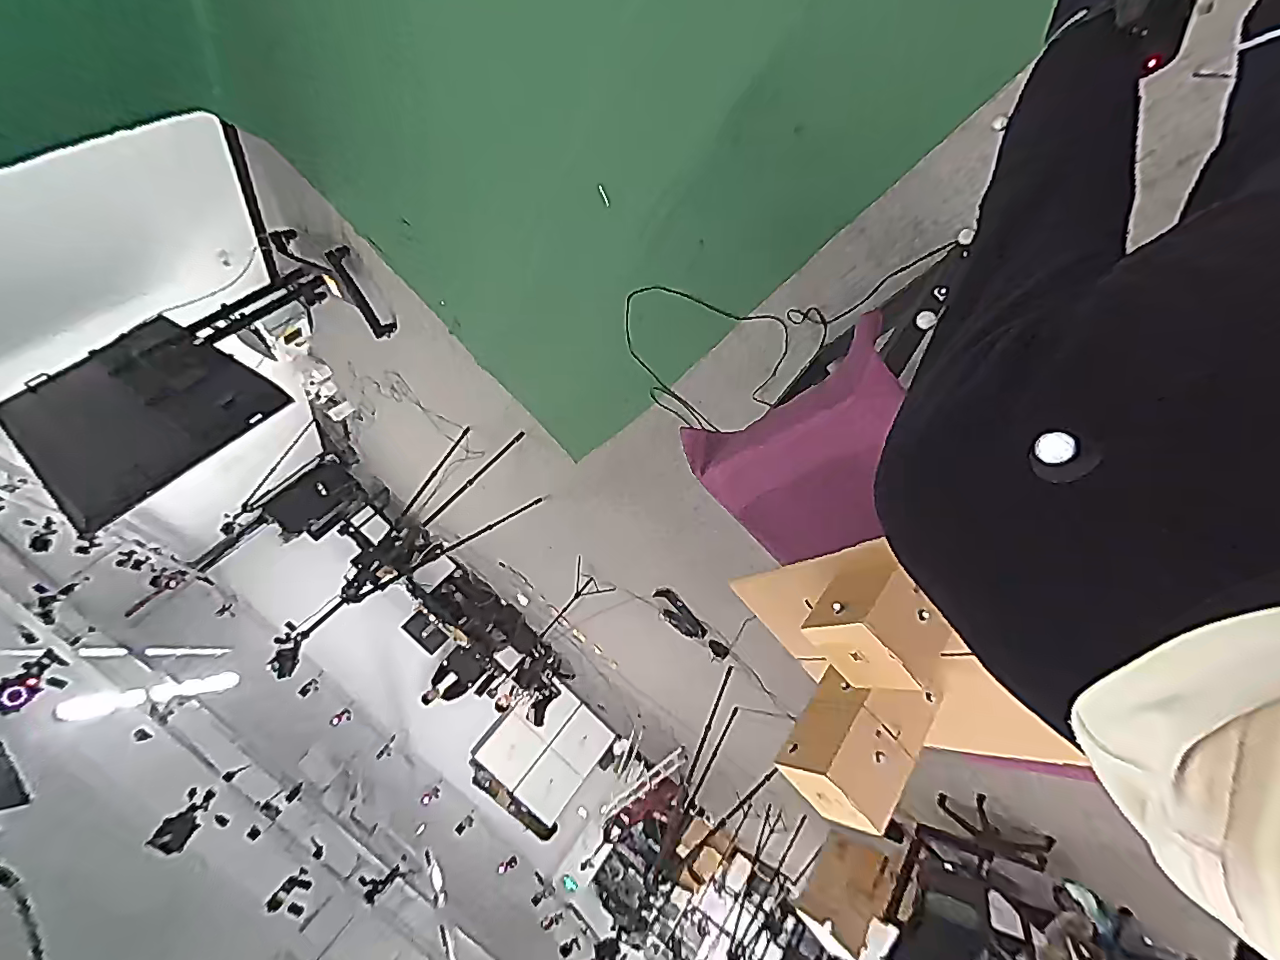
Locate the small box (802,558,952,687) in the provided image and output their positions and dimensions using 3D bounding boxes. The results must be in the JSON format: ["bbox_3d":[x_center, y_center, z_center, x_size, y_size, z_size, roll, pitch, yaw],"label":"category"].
[{"bbox_3d":[0.460,0.275,1.049,0.168,0.176,0.179,47,150,-2],"label":"small box"}]

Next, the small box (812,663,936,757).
[{"bbox_3d":[0.532,0.487,1.217,0.168,0.176,0.179,48,151,-2],"label":"small box"}]

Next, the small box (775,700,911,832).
[{"bbox_3d":[0.428,0.588,1.139,0.168,0.176,0.179,47,150,-2],"label":"small box"}]
